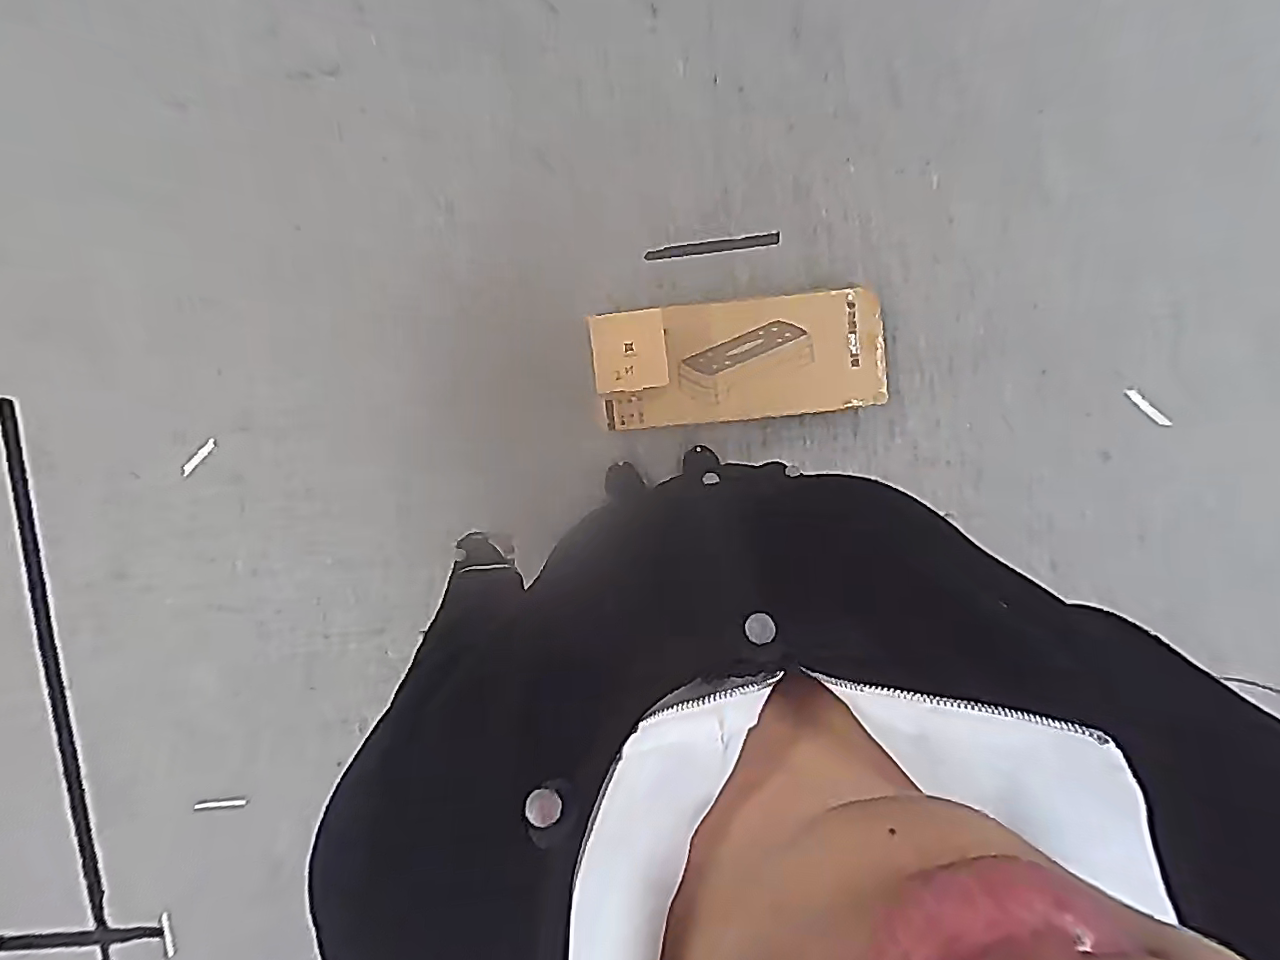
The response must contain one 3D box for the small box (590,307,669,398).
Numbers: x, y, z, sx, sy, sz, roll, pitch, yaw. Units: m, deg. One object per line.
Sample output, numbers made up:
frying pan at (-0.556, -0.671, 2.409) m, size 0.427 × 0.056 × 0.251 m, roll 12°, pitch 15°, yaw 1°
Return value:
small box at (-0.024, -0.296, 1.287) m, size 0.168 × 0.176 × 0.179 m, roll -6°, pitch 94°, yaw 1°
